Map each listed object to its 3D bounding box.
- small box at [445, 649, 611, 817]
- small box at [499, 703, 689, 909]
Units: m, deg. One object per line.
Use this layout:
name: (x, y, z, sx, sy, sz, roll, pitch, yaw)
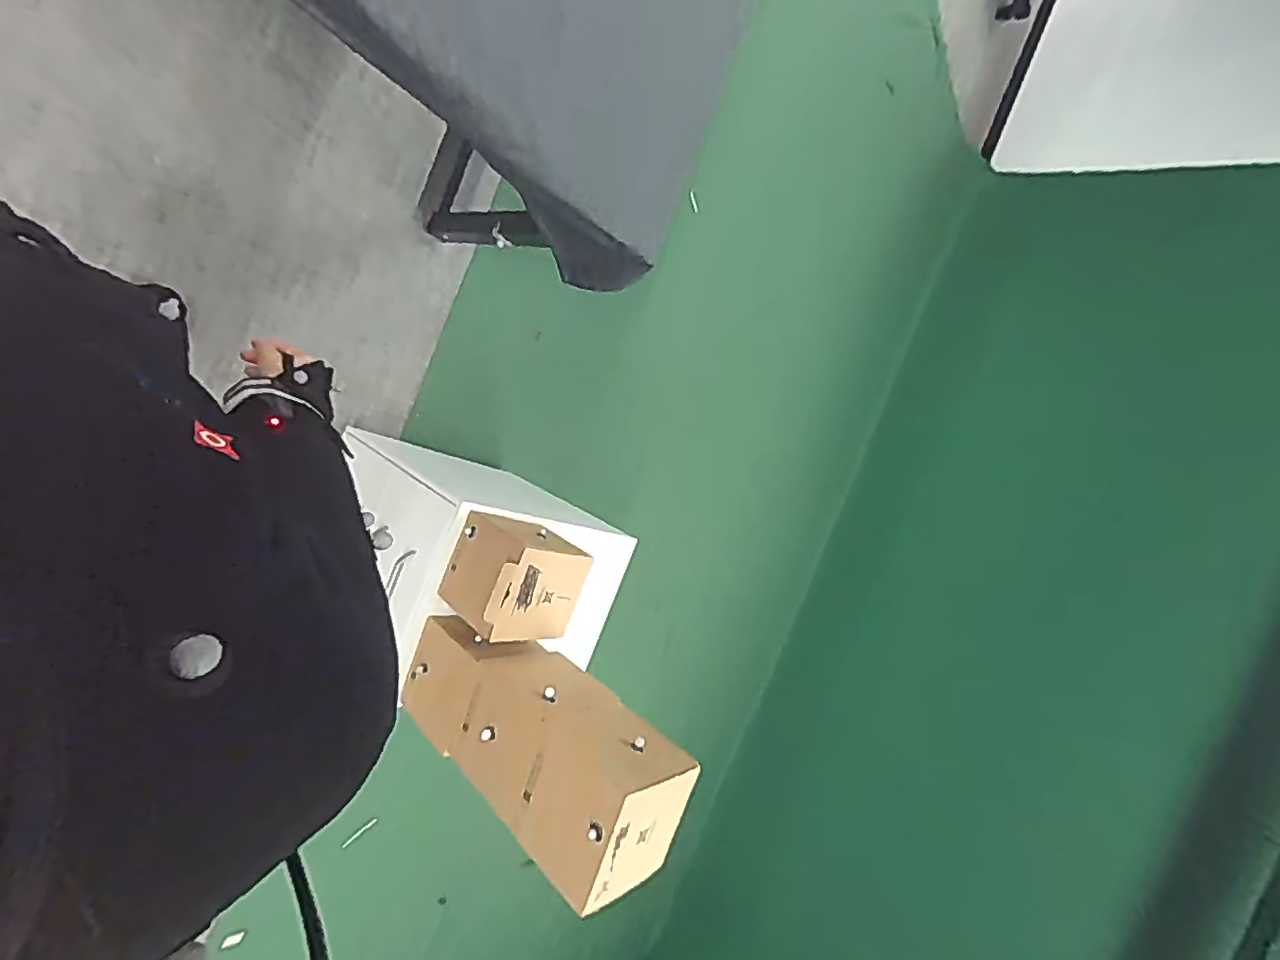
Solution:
small box: (-0.184, 0.392, 0.875, 0.179, 0.176, 0.168, 14, 97, -52)
small box: (-0.065, 0.442, 0.774, 0.179, 0.176, 0.168, 18, 93, -53)
